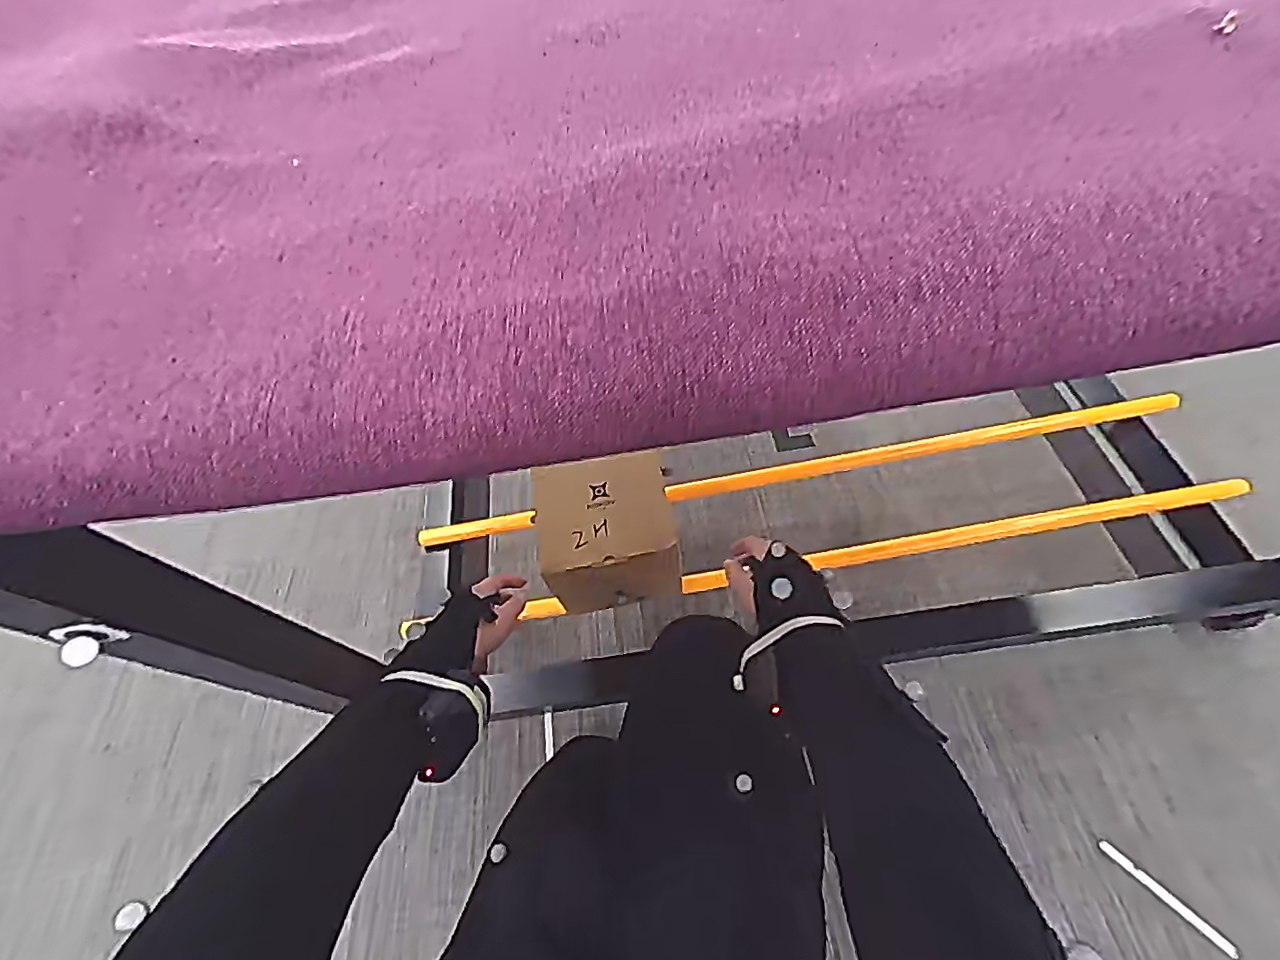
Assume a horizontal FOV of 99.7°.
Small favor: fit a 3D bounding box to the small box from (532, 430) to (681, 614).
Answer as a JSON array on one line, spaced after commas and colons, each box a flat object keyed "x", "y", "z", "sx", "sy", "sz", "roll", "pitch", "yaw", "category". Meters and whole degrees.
[{"x": -0.042, "y": 0.061, "z": 0.731, "sx": 0.168, "sy": 0.176, "sz": 0.179, "roll": -12, "pitch": 59, "yaw": 0, "category": "small box"}]
